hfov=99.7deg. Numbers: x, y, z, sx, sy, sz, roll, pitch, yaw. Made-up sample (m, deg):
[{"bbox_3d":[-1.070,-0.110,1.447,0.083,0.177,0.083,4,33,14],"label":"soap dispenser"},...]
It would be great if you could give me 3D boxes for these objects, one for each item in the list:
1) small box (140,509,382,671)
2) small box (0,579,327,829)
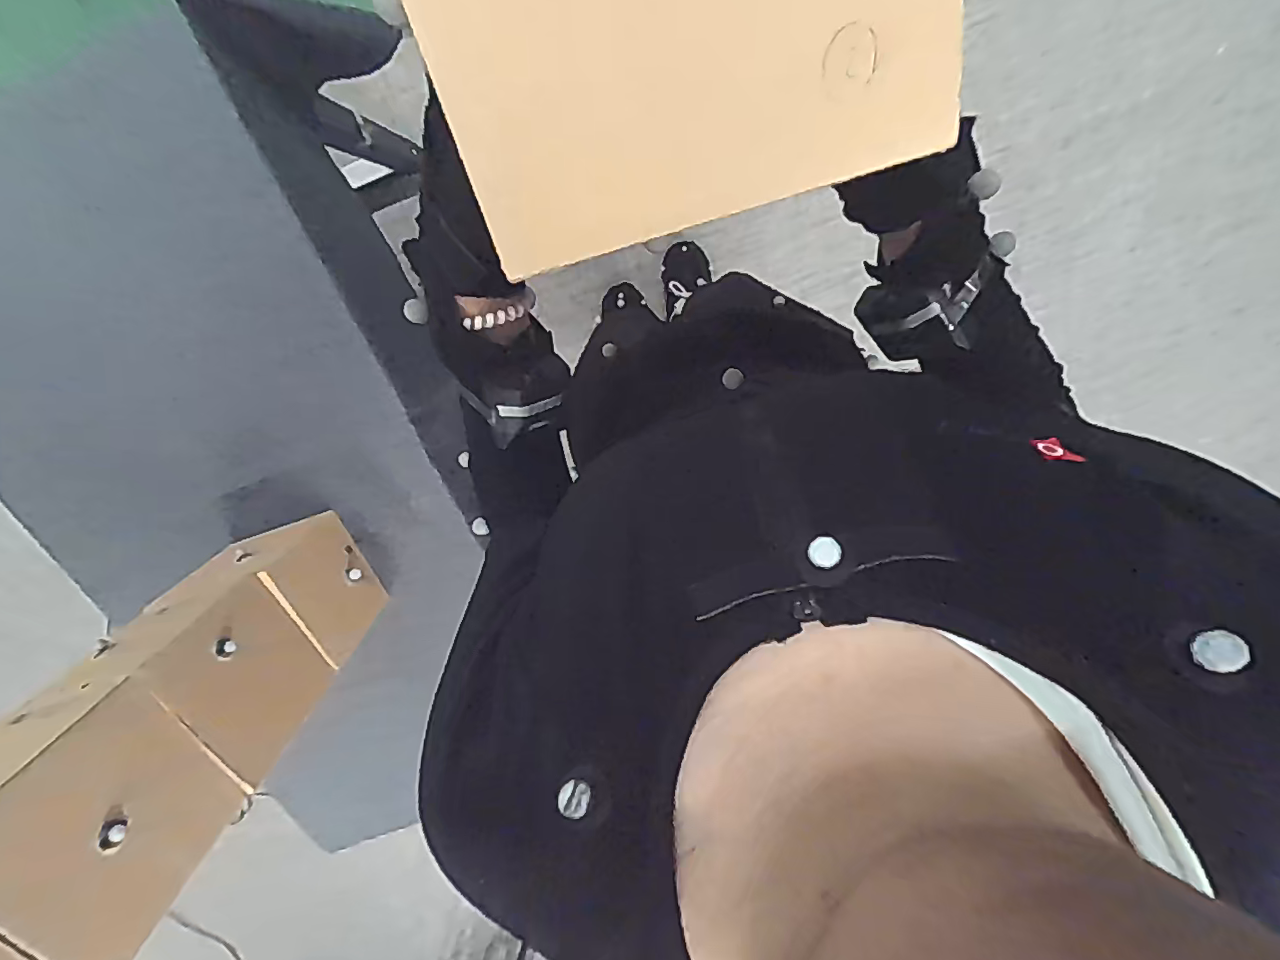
[{"bbox_3d":[-0.497,0.163,0.742,0.179,0.176,0.168,-18,112,6],"label":"small box"},{"bbox_3d":[-0.497,0.230,0.593,0.168,0.176,0.179,-20,111,8],"label":"small box"}]
